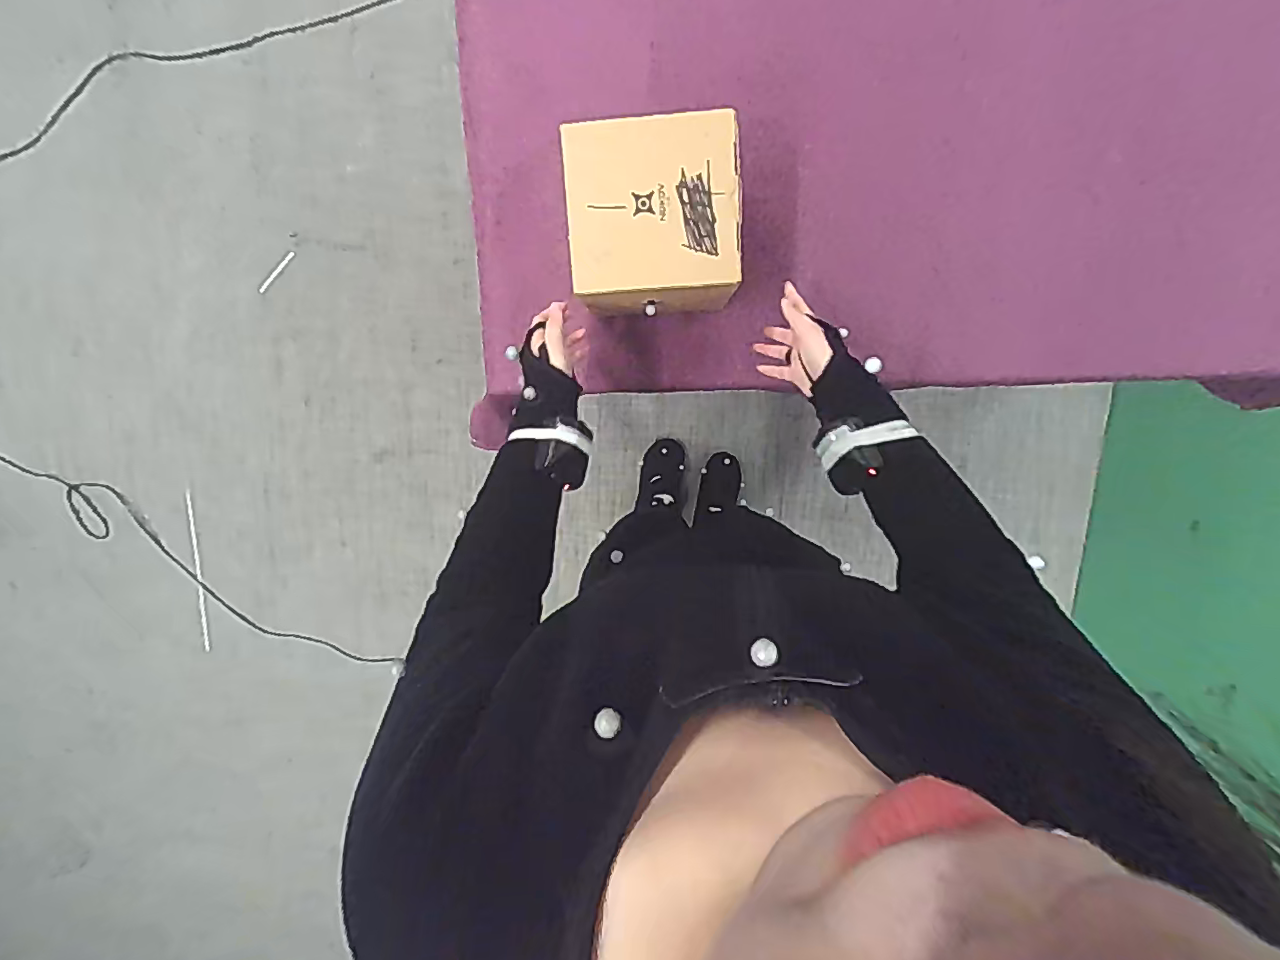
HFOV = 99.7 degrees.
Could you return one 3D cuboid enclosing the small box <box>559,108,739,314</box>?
[{"bbox_3d":[0.014,-0.290,0.620,0.179,0.176,0.168,-3,99,4],"label":"small box"}]
